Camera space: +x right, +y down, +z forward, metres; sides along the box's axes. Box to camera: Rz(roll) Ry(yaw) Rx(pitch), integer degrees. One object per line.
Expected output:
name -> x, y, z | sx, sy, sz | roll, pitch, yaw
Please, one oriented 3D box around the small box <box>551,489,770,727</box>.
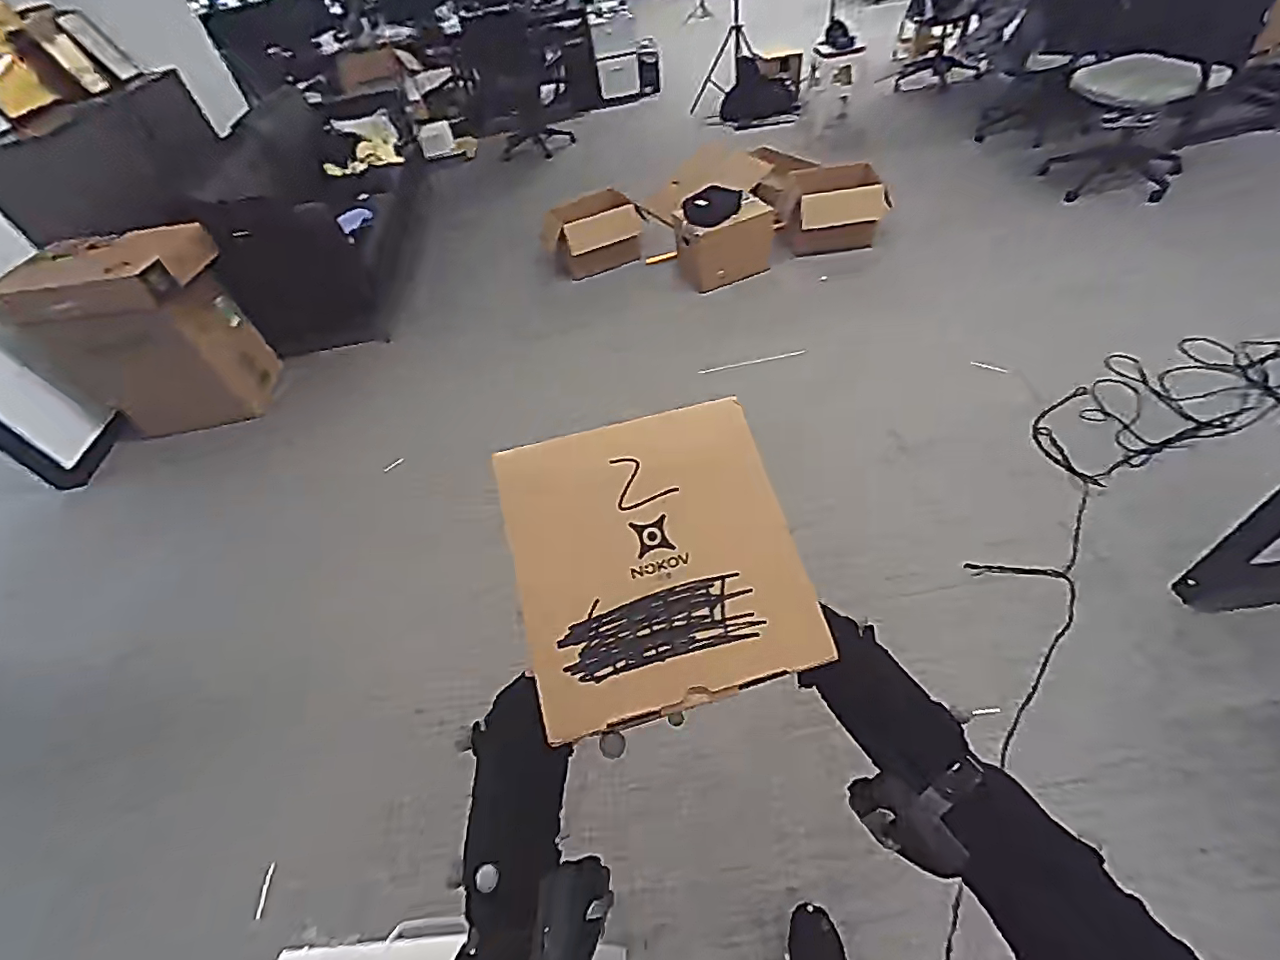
small box -> 0.013, 0.138, 0.561 | 0.168, 0.176, 0.179 | -15, 61, -6
